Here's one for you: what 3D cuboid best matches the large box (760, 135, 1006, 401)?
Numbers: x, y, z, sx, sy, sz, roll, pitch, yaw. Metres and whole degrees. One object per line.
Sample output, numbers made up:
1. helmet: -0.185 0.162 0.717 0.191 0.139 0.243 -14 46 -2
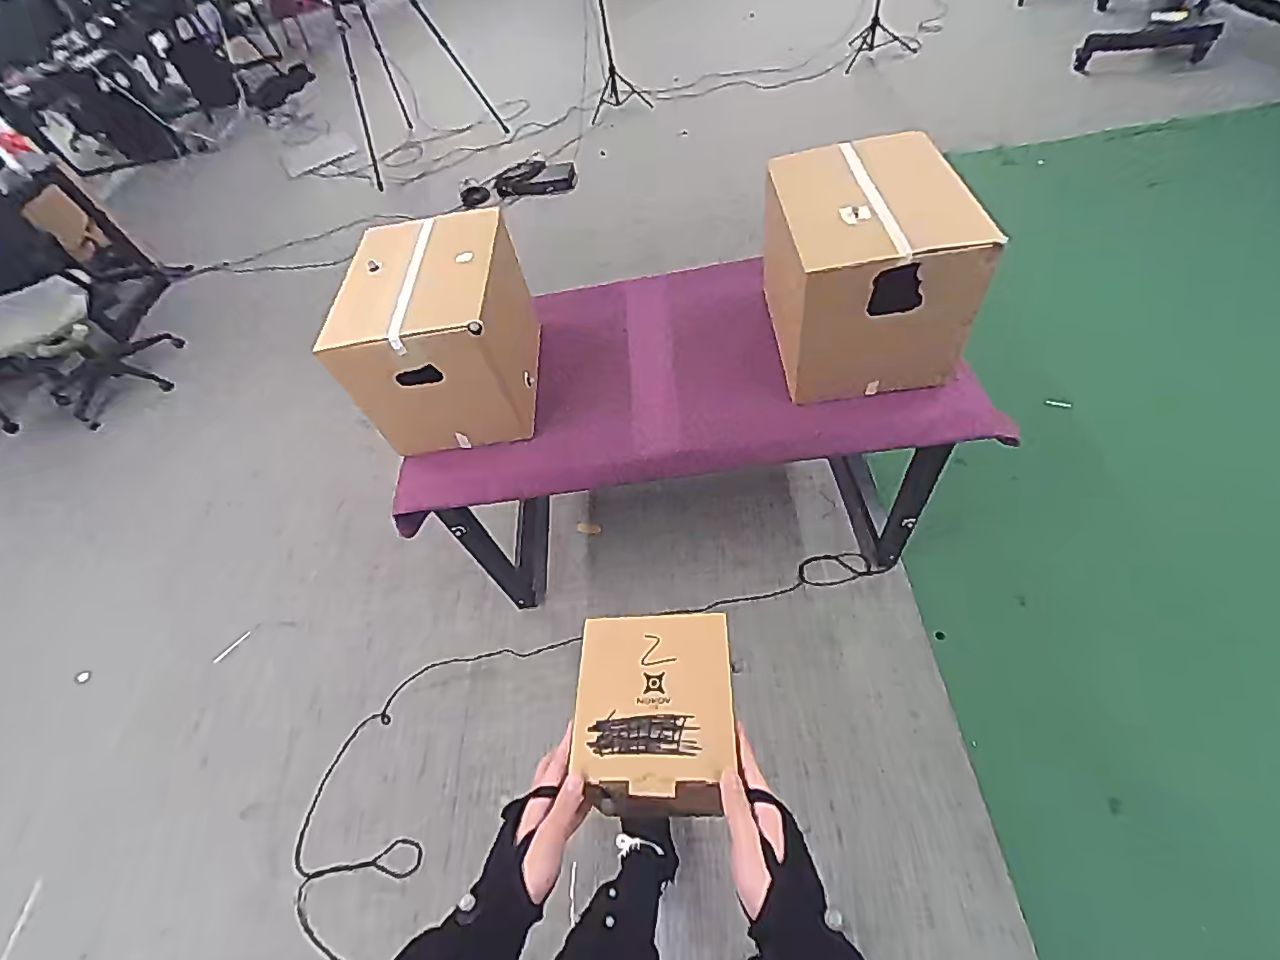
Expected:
1. large box: 0.435 -0.422 1.092 0.320 0.320 0.408 -7 55 6
